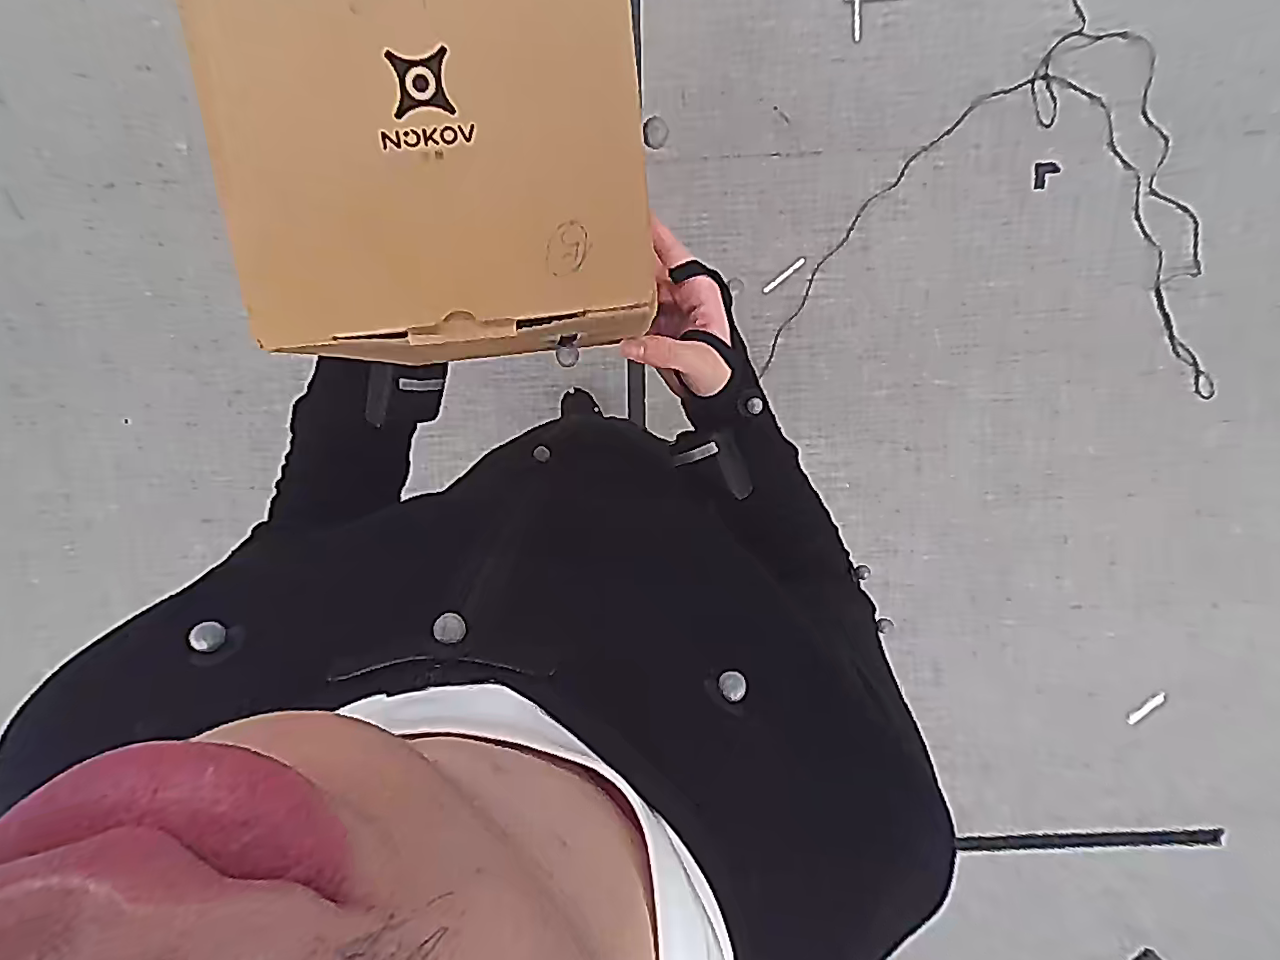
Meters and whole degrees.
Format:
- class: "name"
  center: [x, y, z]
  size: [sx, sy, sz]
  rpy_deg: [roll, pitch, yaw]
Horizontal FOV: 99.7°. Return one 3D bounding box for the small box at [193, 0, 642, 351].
- class: "small box"
  center: [-0.090, -0.167, 0.297]
  size: [0.168, 0.176, 0.179]
  rpy_deg: [-7, 99, -2]
